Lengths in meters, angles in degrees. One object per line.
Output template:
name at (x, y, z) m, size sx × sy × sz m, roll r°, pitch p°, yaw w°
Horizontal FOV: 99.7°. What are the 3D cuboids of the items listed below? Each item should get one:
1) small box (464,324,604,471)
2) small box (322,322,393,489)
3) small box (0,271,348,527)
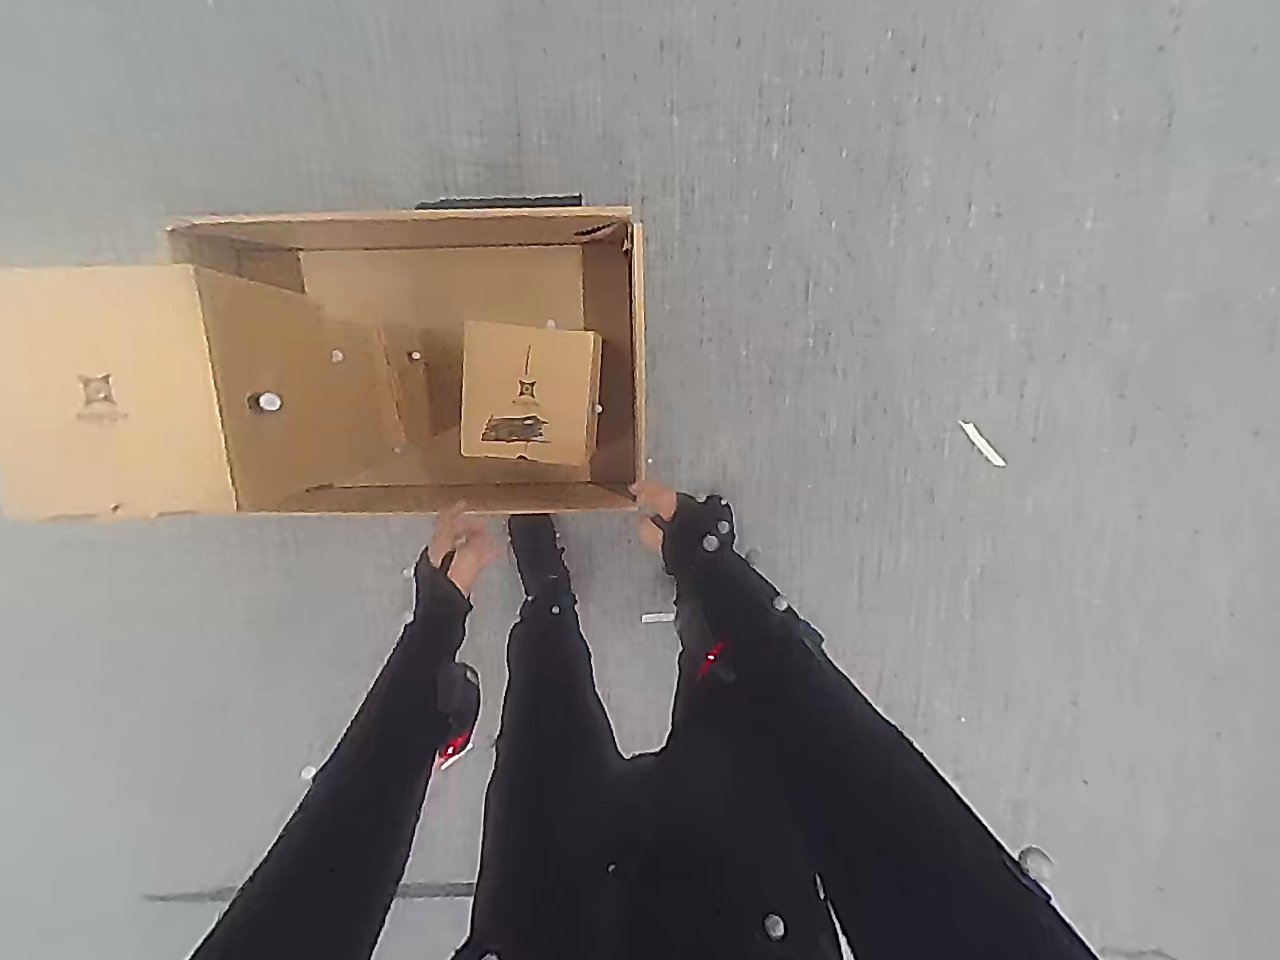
small box at (-0.143, -0.121, 0.776) m, size 0.168 × 0.176 × 0.179 m, roll 5°, pitch 102°, yaw -1°
small box at (-0.407, -0.085, 0.617) m, size 0.168 × 0.176 × 0.179 m, roll -5°, pitch 102°, yaw -1°
small box at (-0.374, -0.068, 0.455) m, size 0.168 × 0.176 × 0.179 m, roll -2°, pitch 101°, yaw -2°
